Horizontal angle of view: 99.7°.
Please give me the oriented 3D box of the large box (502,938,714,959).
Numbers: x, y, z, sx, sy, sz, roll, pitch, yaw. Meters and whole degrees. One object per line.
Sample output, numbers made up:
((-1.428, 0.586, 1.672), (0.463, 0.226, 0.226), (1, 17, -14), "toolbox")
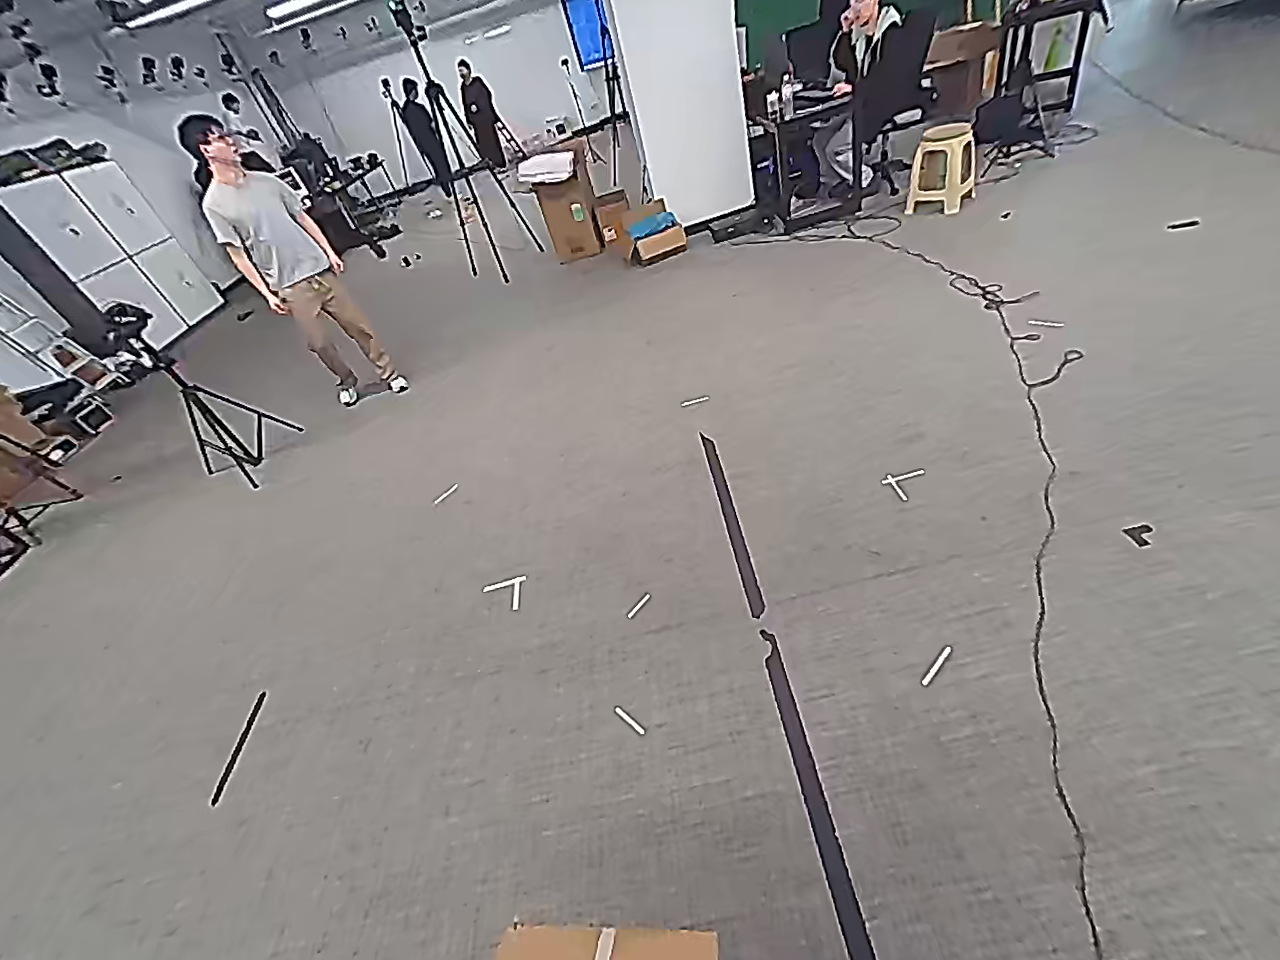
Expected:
((-0.059, 0.831, 0.595), (0.320, 0.320, 0.408), (-4, 0, 8), "large box")
